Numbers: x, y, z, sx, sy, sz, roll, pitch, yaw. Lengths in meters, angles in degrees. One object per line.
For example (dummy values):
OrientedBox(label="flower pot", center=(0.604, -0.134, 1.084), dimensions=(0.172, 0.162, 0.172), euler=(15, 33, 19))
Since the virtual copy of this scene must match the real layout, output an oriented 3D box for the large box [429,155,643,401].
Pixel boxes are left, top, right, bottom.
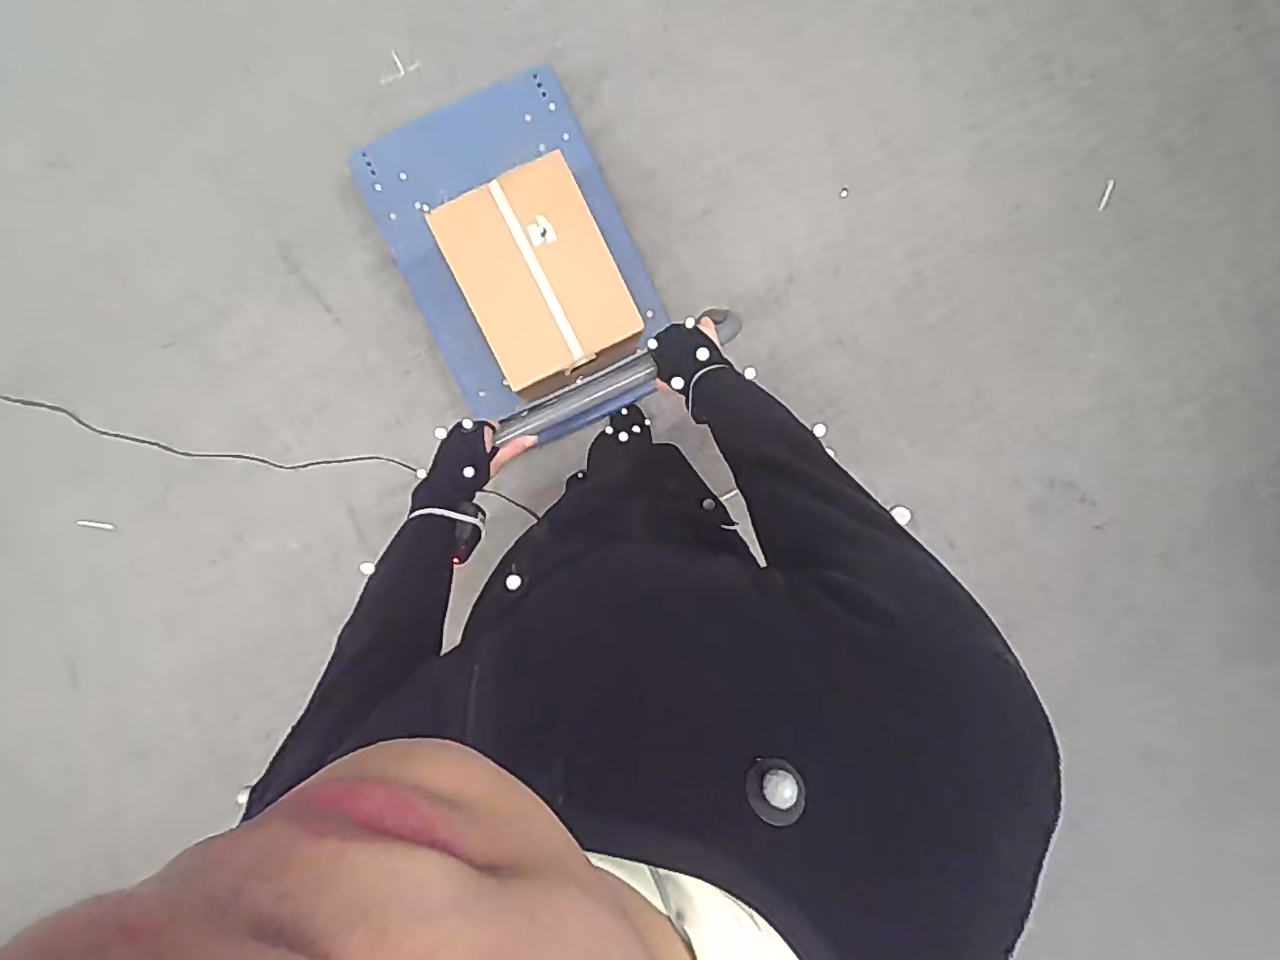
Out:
OrientedBox(label="large box", center=(-0.219, -0.442, 1.281), dimensions=(0.320, 0.320, 0.408), euler=(-26, 93, -2))
